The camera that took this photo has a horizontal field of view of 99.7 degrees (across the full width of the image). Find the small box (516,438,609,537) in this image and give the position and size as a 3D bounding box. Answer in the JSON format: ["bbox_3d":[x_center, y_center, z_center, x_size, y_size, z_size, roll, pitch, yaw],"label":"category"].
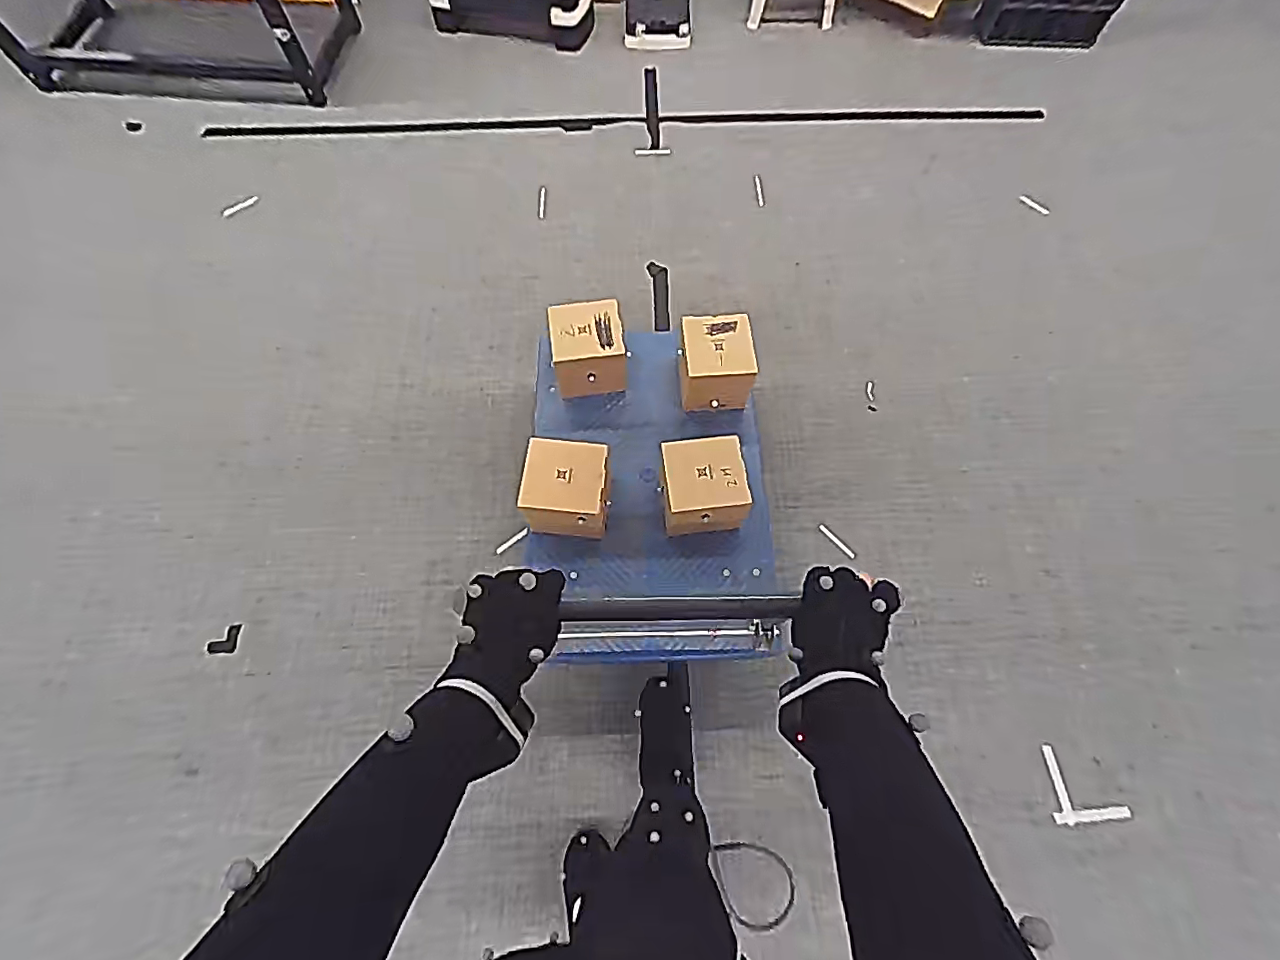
[{"bbox_3d":[-0.166,0.022,1.223,0.179,0.176,0.168,6,67,0],"label":"small box"}]

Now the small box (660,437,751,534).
[{"bbox_3d":[0.139,0.018,1.228,0.179,0.176,0.168,-6,68,-3],"label":"small box"}]

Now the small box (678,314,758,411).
[{"bbox_3d":[0.188,-0.291,1.358,0.168,0.176,0.179,-3,68,-2],"label":"small box"}]
